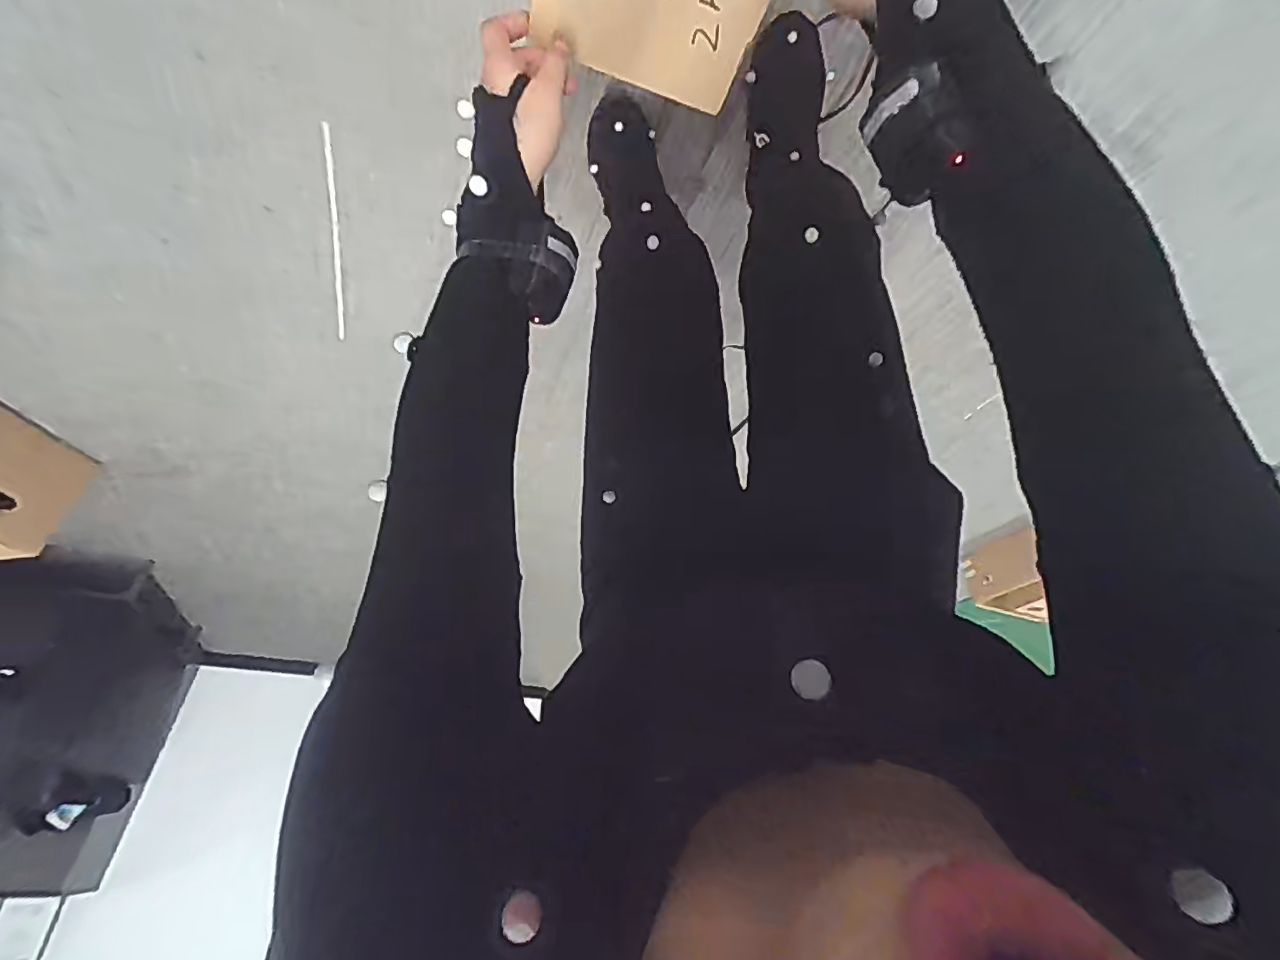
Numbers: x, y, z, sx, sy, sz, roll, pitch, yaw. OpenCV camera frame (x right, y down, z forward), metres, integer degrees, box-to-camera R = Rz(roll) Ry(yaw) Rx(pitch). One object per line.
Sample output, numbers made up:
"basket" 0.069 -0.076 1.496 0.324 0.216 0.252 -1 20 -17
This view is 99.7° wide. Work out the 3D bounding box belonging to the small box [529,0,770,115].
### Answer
"small box" 0.017 -0.451 0.439 0.179 0.176 0.168 10 150 -16
